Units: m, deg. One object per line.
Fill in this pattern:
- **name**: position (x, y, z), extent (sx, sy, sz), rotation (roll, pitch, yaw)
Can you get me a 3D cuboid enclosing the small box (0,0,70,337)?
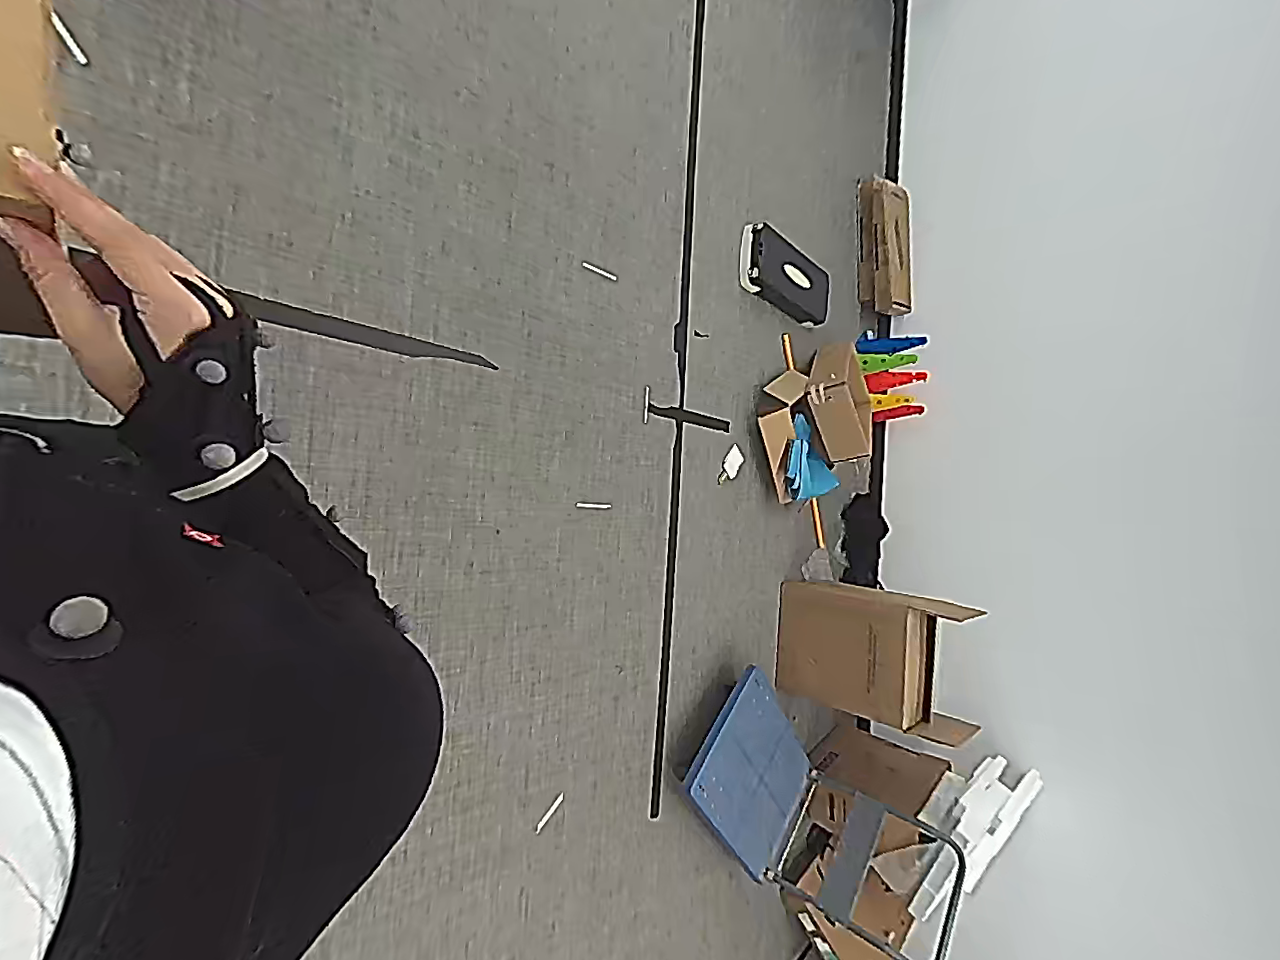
- **small box**: position (-0.401, -0.193, 0.263), extent (0.168, 0.176, 0.179), rotation (-3, 81, -46)
